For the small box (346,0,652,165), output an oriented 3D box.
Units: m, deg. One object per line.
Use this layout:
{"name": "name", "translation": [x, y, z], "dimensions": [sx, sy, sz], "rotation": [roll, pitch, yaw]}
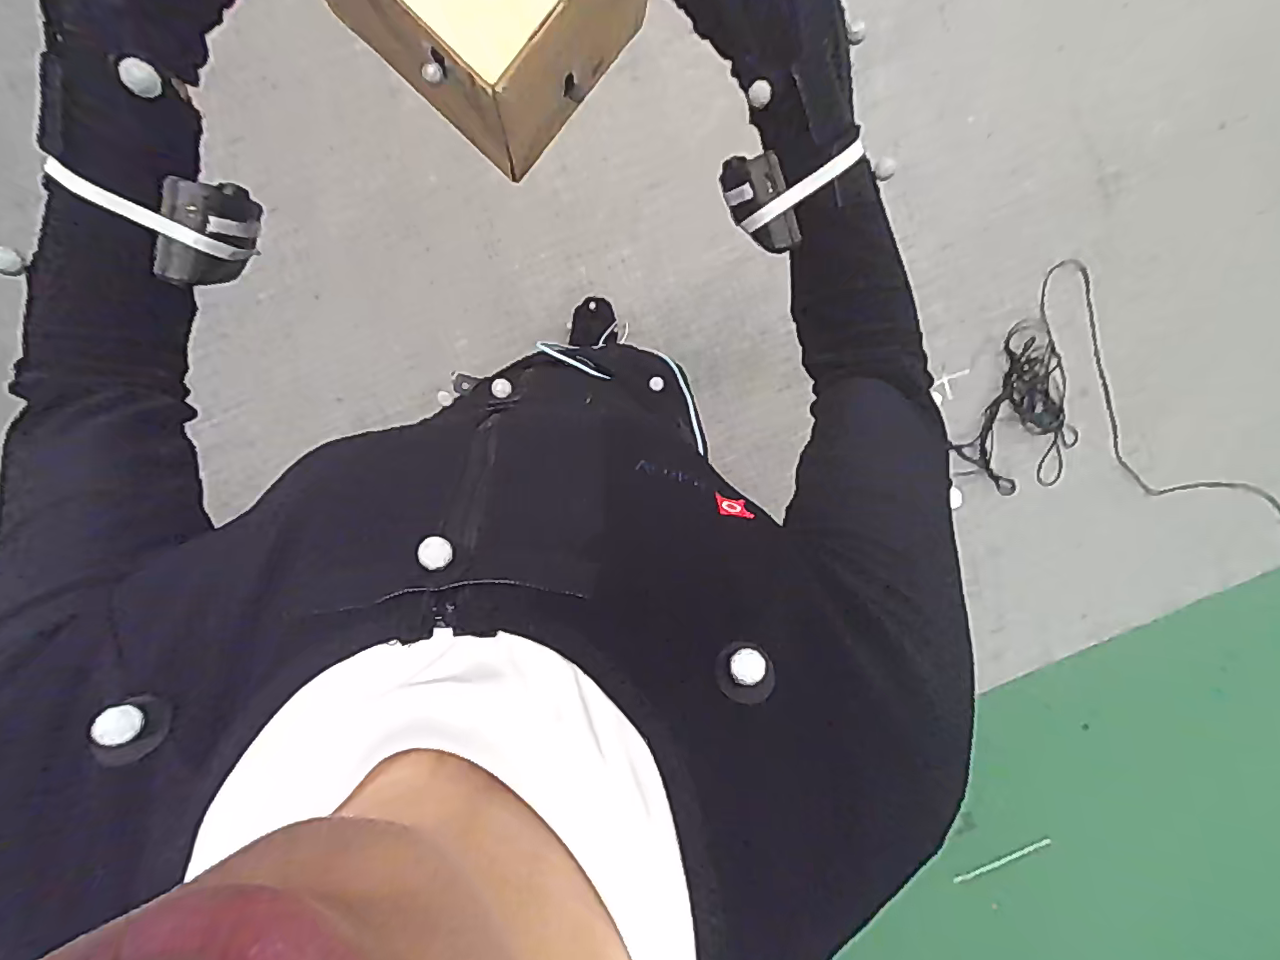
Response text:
{"name": "small box", "translation": [-0.098, -0.350, 0.351], "dimensions": [0.179, 0.176, 0.168], "rotation": [40, 95, -16]}
